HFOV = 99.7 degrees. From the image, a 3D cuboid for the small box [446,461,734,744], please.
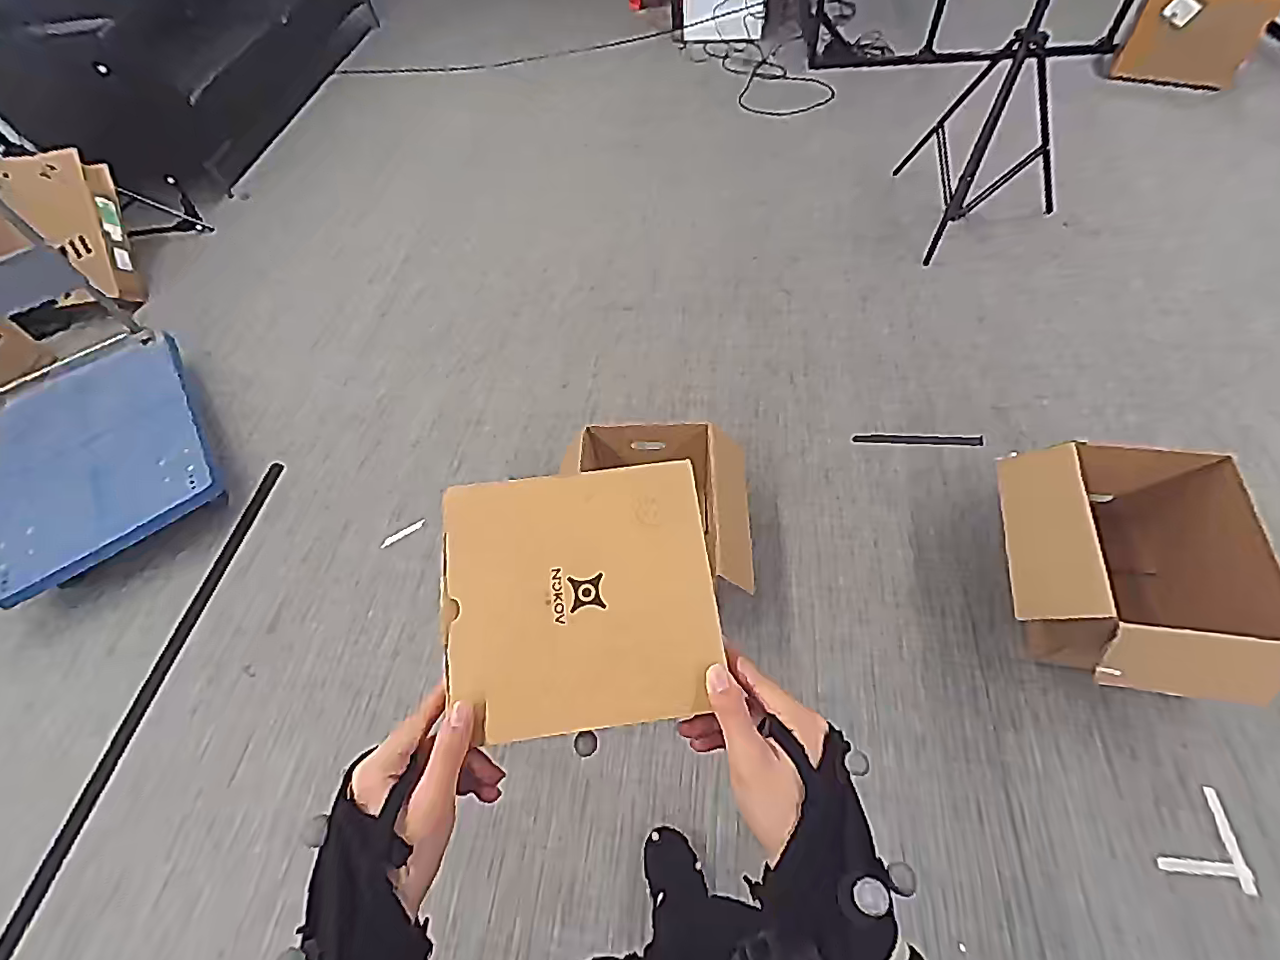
[{"bbox_3d":[-0.039,0.097,0.426,0.179,0.176,0.168,-7,70,-3],"label":"small box"}]
